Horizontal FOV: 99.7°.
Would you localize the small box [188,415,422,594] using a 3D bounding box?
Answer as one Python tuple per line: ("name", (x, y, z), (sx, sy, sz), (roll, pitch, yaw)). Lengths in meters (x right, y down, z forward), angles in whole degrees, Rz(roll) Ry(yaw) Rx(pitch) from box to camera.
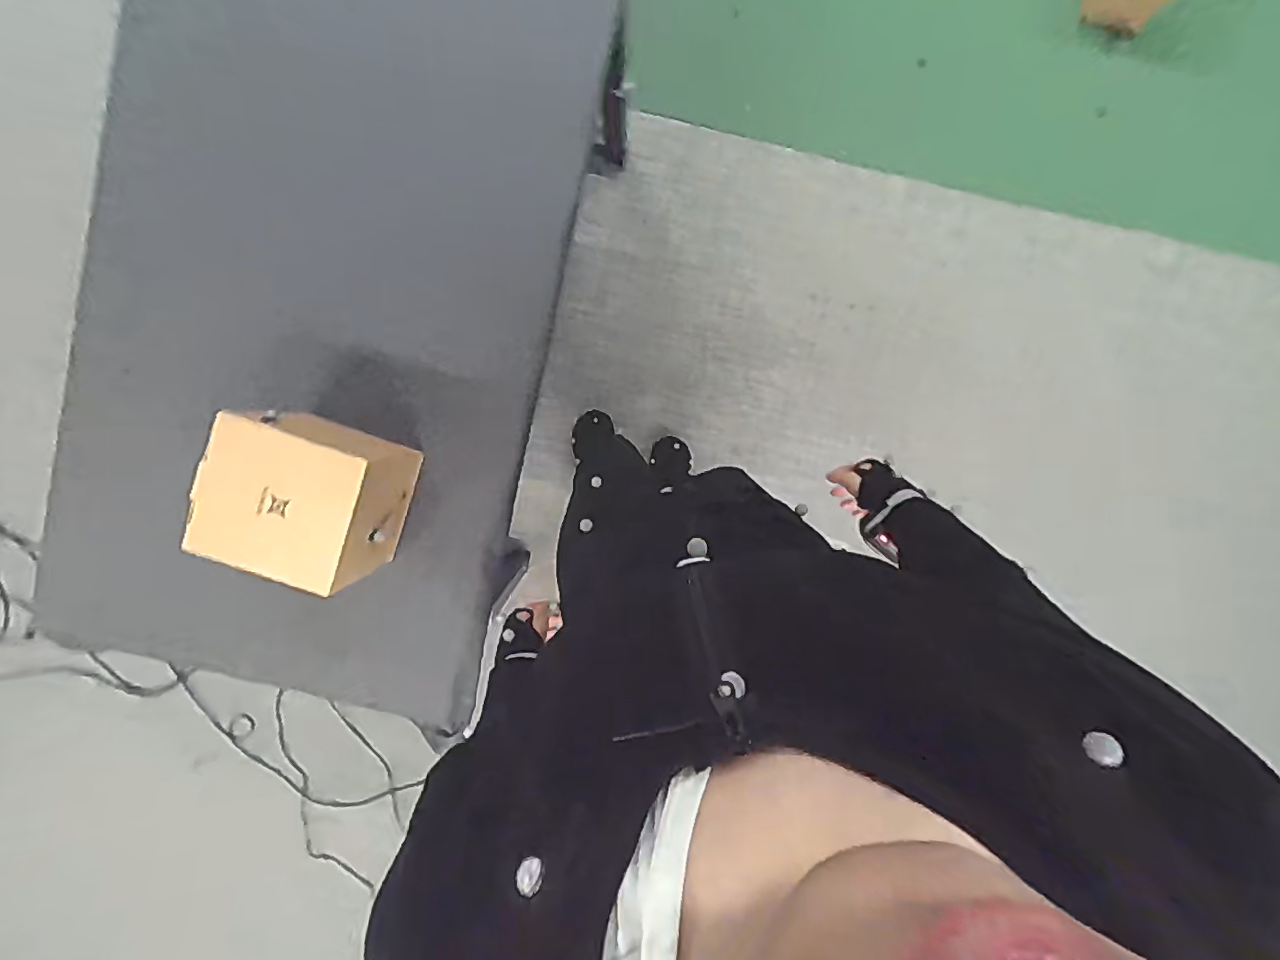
("small box", (-0.407, 0.021, 0.687), (0.179, 0.176, 0.168), (18, 95, -1))
